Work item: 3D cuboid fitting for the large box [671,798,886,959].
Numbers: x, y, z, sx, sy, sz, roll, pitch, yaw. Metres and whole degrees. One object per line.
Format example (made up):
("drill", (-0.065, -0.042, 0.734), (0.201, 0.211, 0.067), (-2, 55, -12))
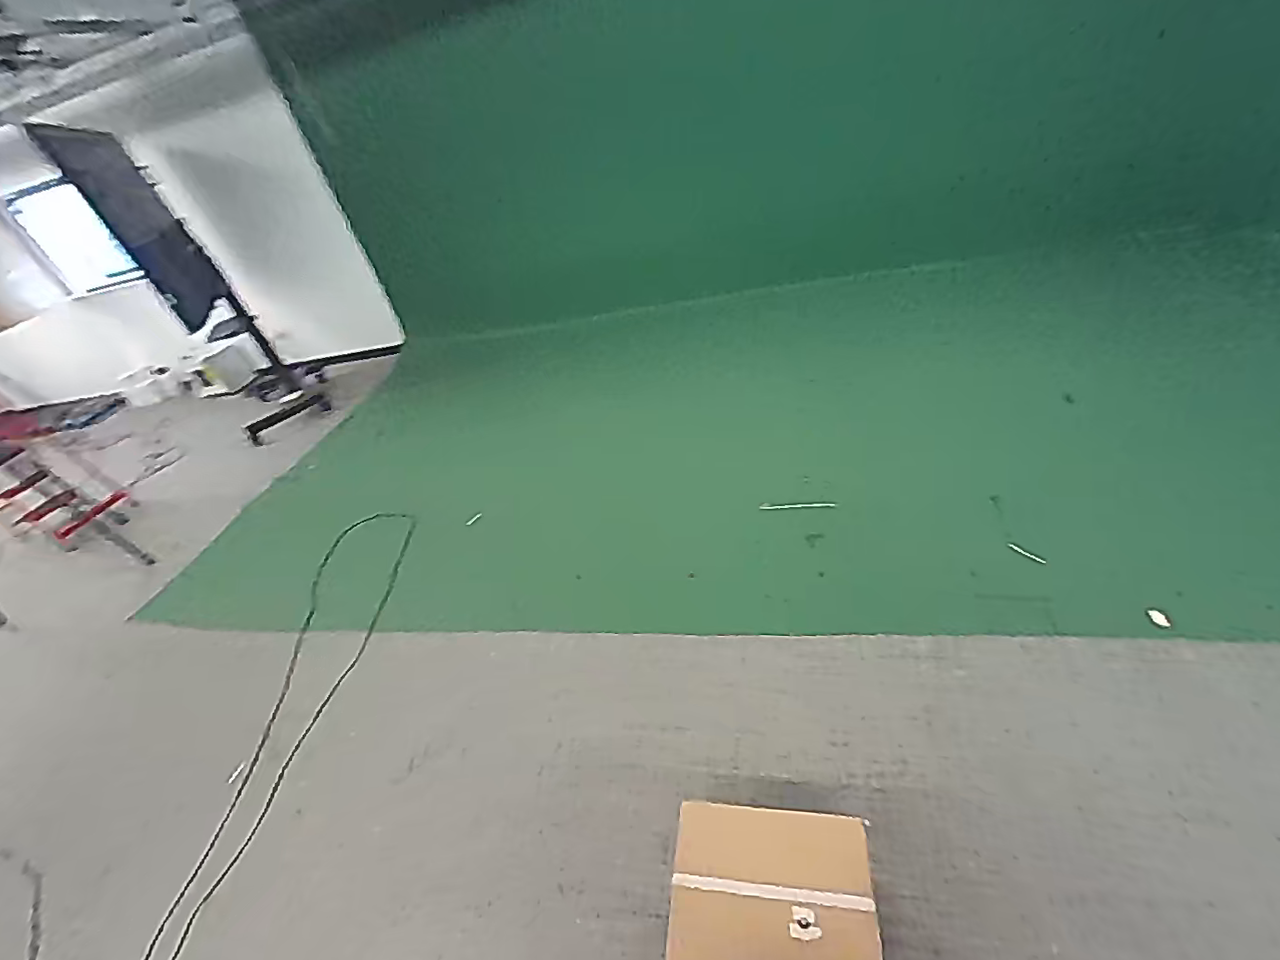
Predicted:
("large box", (0.302, 0.943, 1.193), (0.408, 0.320, 0.320), (-4, 39, 16))
